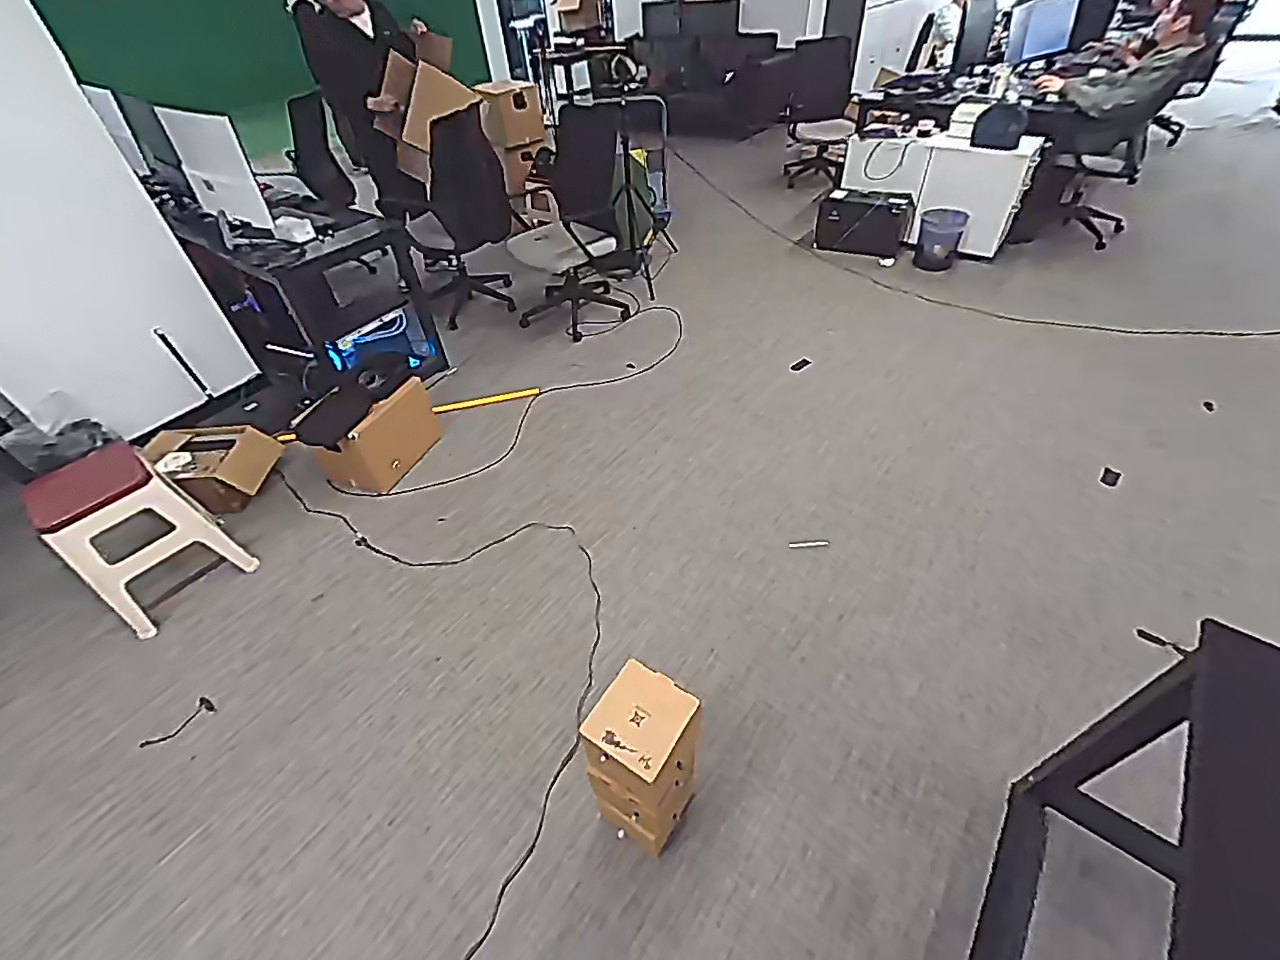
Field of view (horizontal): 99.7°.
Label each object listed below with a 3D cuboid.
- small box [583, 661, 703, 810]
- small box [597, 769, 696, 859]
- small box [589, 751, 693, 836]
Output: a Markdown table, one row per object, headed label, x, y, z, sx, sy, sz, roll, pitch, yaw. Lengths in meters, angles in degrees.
| label | x | y | z | sx | sy | sz | roll | pitch | yaw |
| --- | --- | --- | --- | --- | --- | --- | --- | --- | --- |
| small box | 0.009 | 0.504 | 1.067 | 0.168 | 0.176 | 0.179 | 23 | 50 | 26 |
| small box | 0.019 | 0.750 | 1.283 | 0.168 | 0.176 | 0.179 | 23 | 51 | 26 |
| small box | 0.011 | 0.629 | 1.175 | 0.168 | 0.176 | 0.179 | 21 | 48 | 23 |
